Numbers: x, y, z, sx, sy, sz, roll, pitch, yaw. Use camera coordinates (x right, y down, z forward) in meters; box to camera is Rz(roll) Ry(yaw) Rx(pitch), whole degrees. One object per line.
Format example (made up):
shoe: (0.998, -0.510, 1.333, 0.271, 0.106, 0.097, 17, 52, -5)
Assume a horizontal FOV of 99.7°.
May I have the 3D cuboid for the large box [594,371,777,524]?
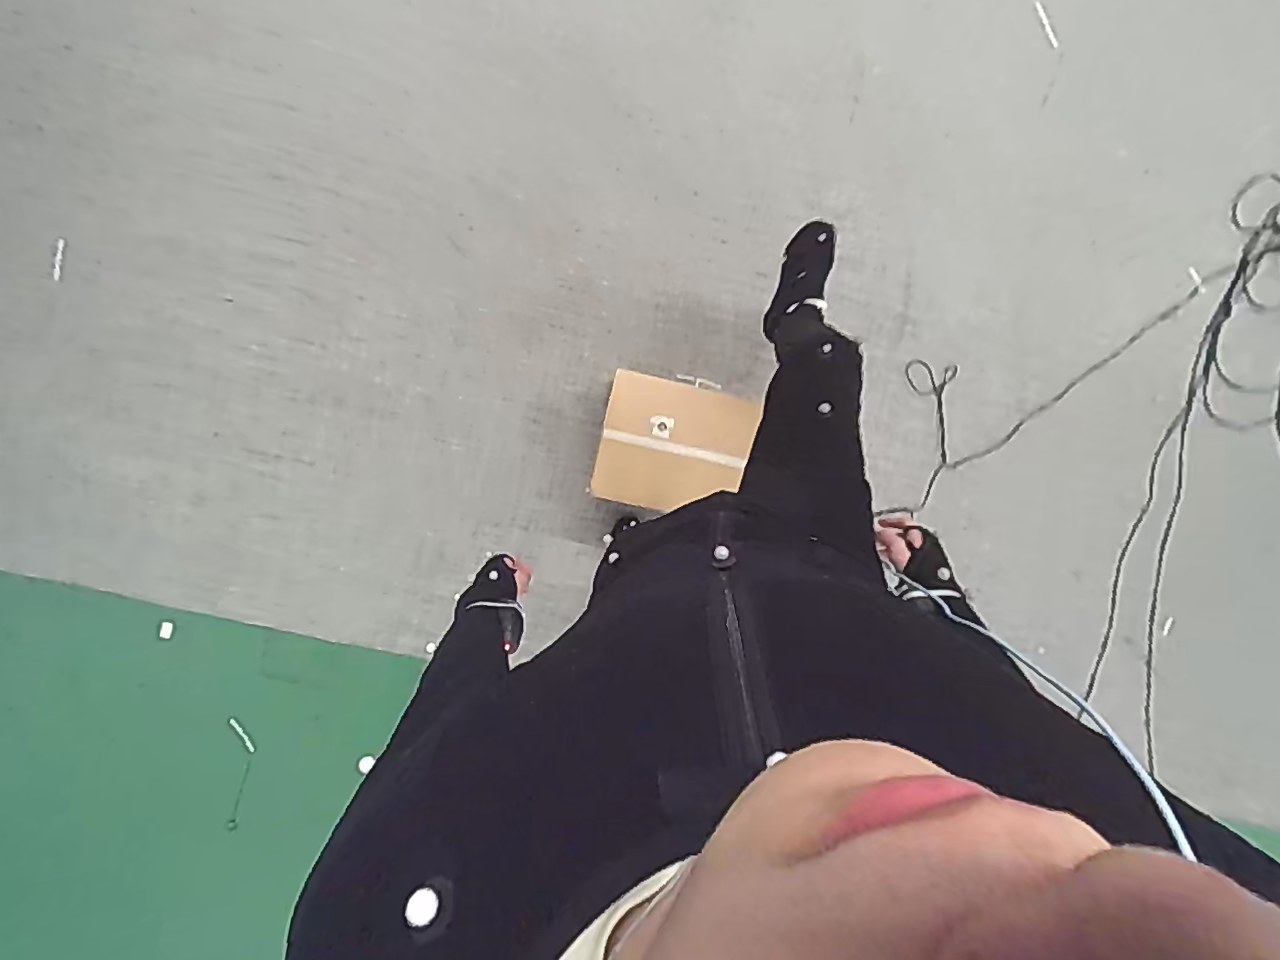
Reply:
large box: (0.106, -0.090, 1.452, 0.408, 0.320, 0.320, 12, 94, -4)
